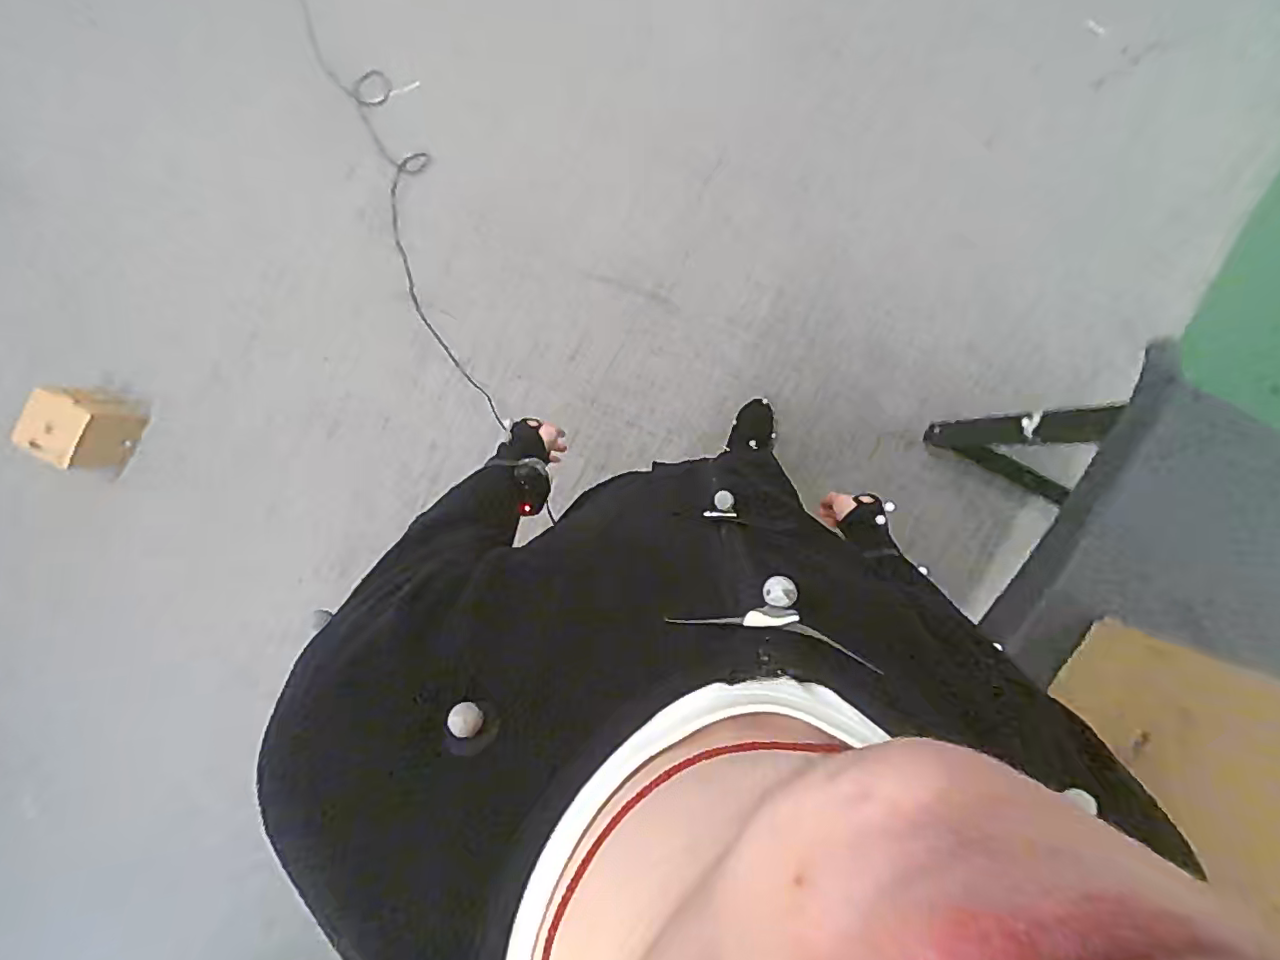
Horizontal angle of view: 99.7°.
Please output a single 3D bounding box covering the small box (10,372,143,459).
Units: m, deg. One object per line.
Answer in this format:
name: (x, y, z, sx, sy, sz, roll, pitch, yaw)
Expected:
small box: (-1.549, -0.175, 1.501, 0.168, 0.176, 0.179, 30, 94, 0)
